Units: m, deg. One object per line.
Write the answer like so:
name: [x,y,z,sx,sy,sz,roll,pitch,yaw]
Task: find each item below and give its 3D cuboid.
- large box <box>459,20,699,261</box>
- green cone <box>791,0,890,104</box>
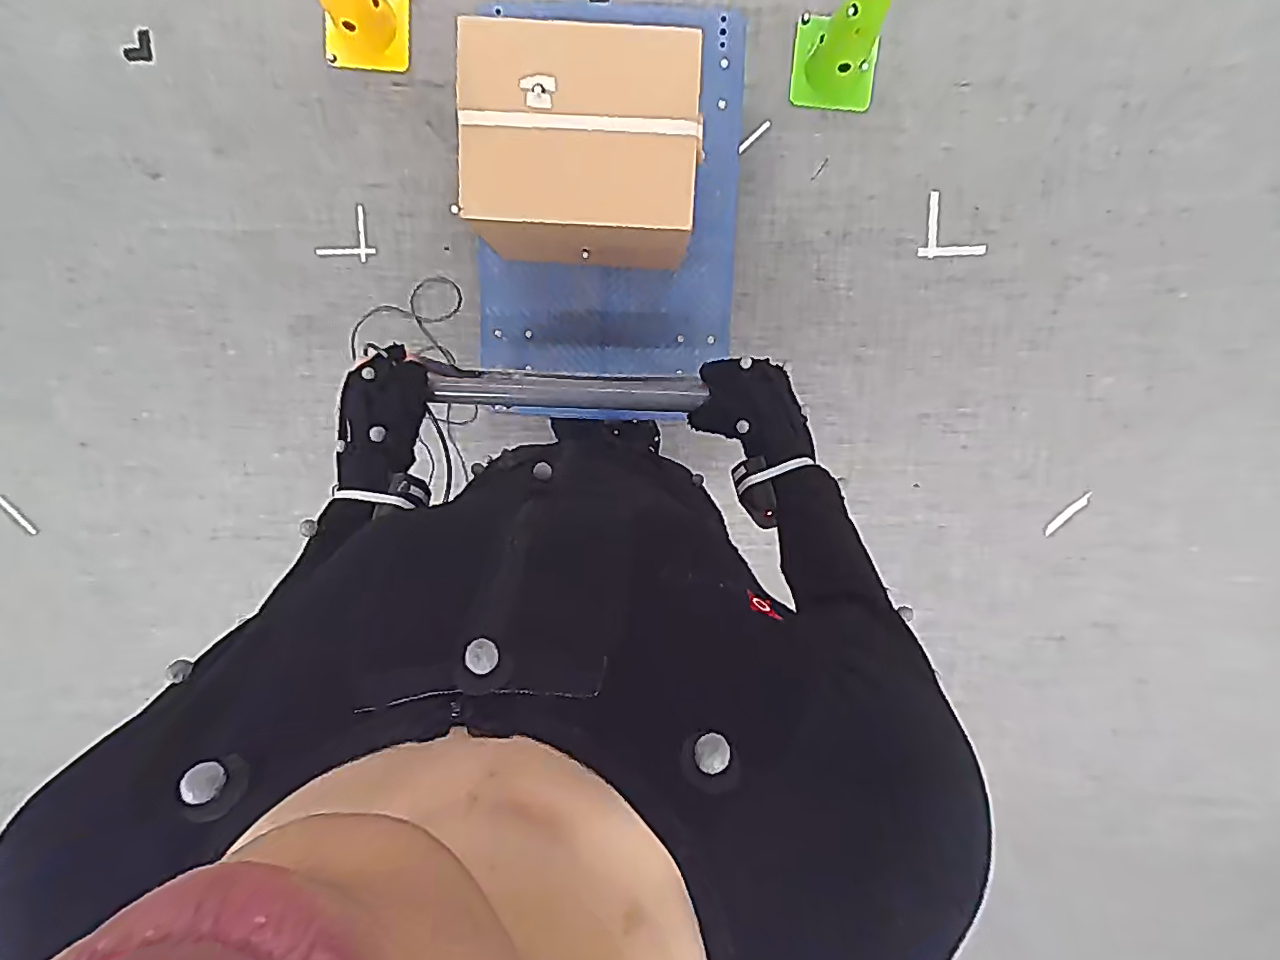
large box: [-0.101,-0.623,1.056,0.408,0.320,0.320,3,99,0]
green cone: [0.475,-1.001,1.141,0.202,0.368,0.200,4,99,-2]
